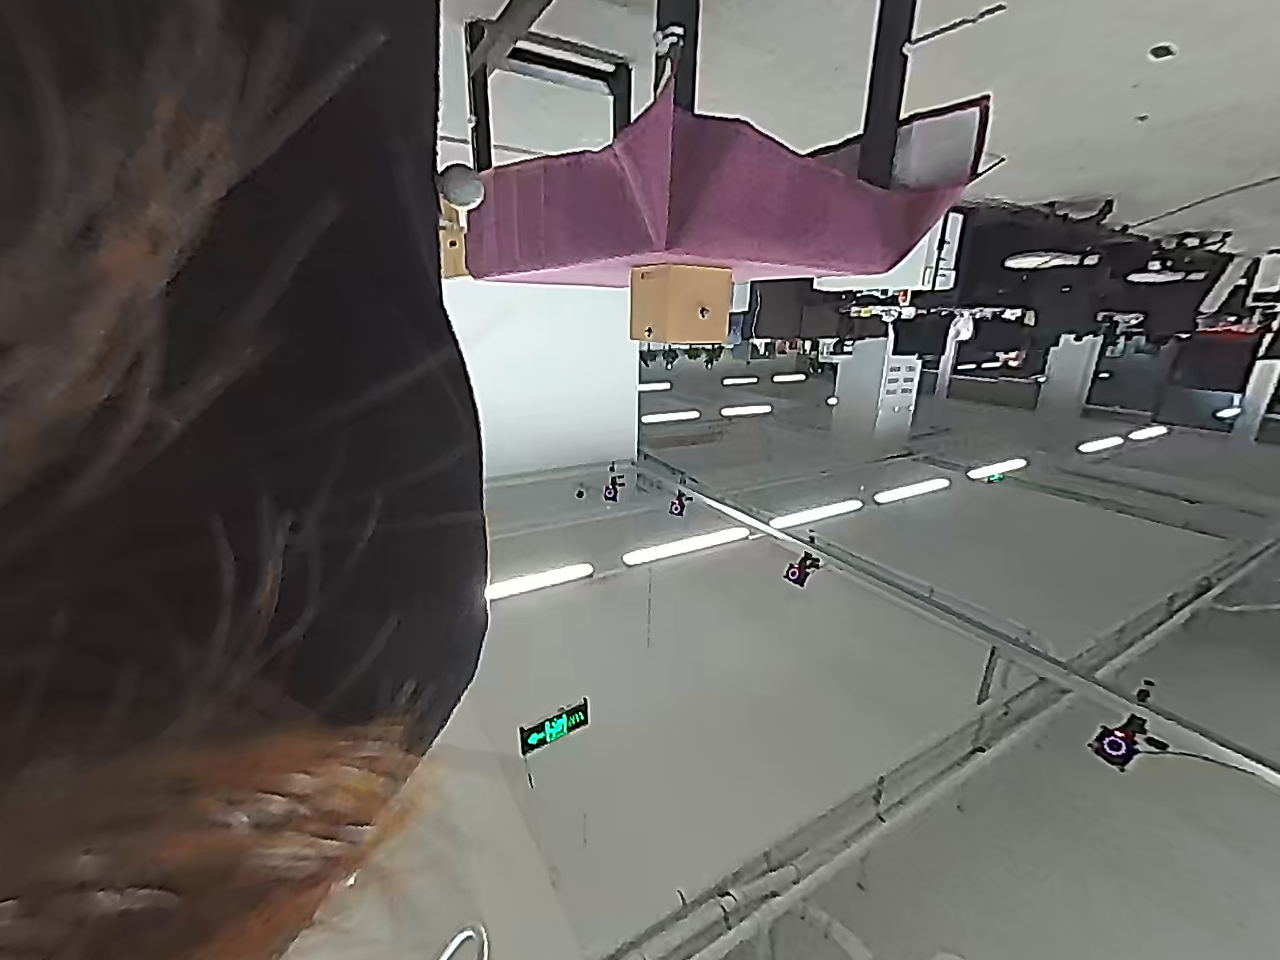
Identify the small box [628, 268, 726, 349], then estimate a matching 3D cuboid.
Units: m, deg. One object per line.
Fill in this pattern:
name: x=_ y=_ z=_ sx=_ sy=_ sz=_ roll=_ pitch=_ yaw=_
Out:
small box: x=0.085 y=-0.403 z=1.264 sx=0.179 sy=0.176 sz=0.168 roll=-9 pitch=-160 yaw=-28
